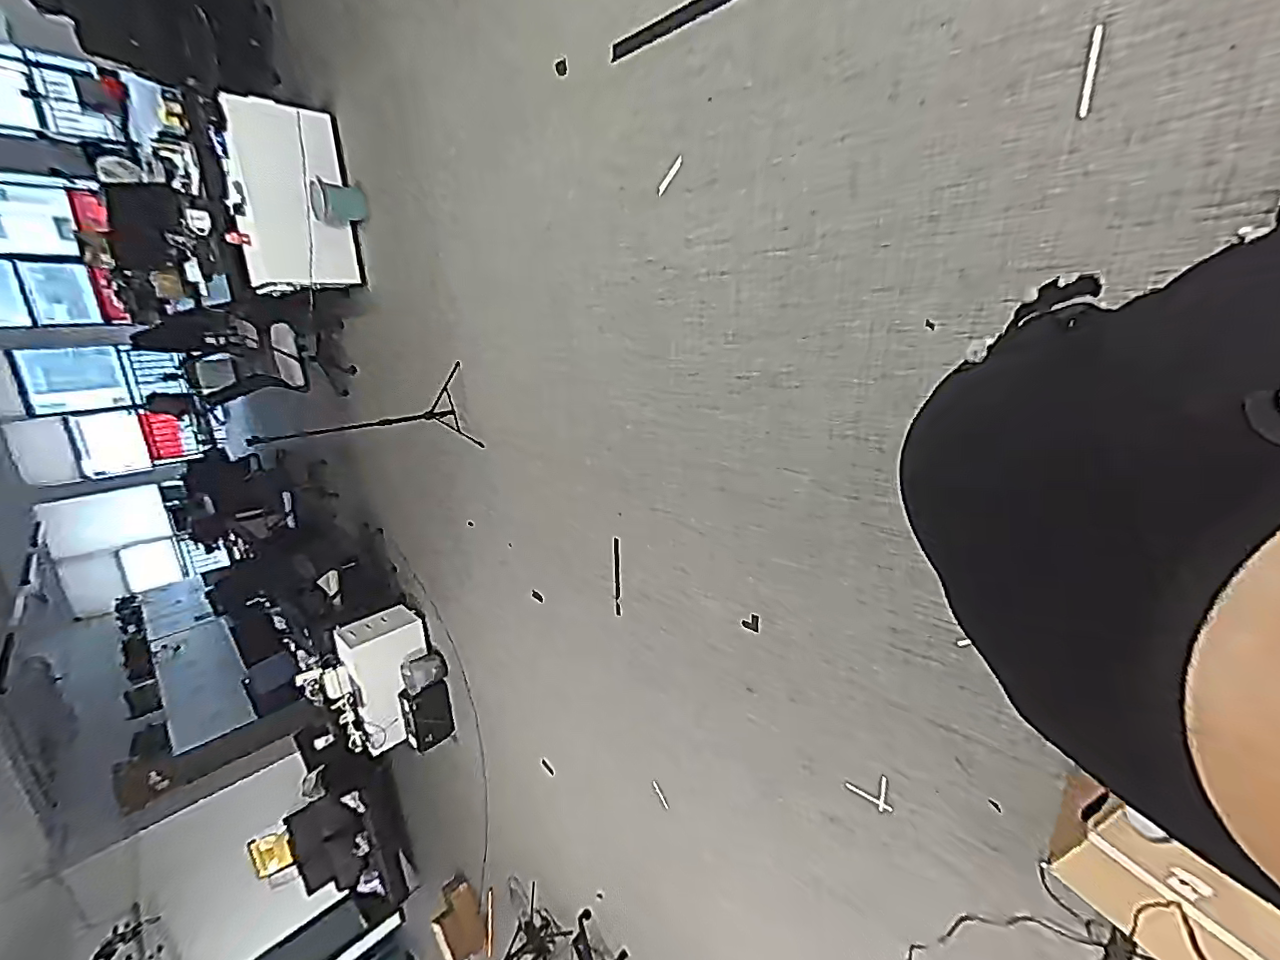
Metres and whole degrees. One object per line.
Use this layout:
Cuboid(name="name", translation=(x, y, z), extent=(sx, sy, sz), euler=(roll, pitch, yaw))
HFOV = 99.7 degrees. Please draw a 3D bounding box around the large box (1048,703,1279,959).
Cuboid(name="large box", translation=(1.151, 0.751, 1.082), extent=(0.408, 0.320, 0.320), euler=(37, 127, 33))
